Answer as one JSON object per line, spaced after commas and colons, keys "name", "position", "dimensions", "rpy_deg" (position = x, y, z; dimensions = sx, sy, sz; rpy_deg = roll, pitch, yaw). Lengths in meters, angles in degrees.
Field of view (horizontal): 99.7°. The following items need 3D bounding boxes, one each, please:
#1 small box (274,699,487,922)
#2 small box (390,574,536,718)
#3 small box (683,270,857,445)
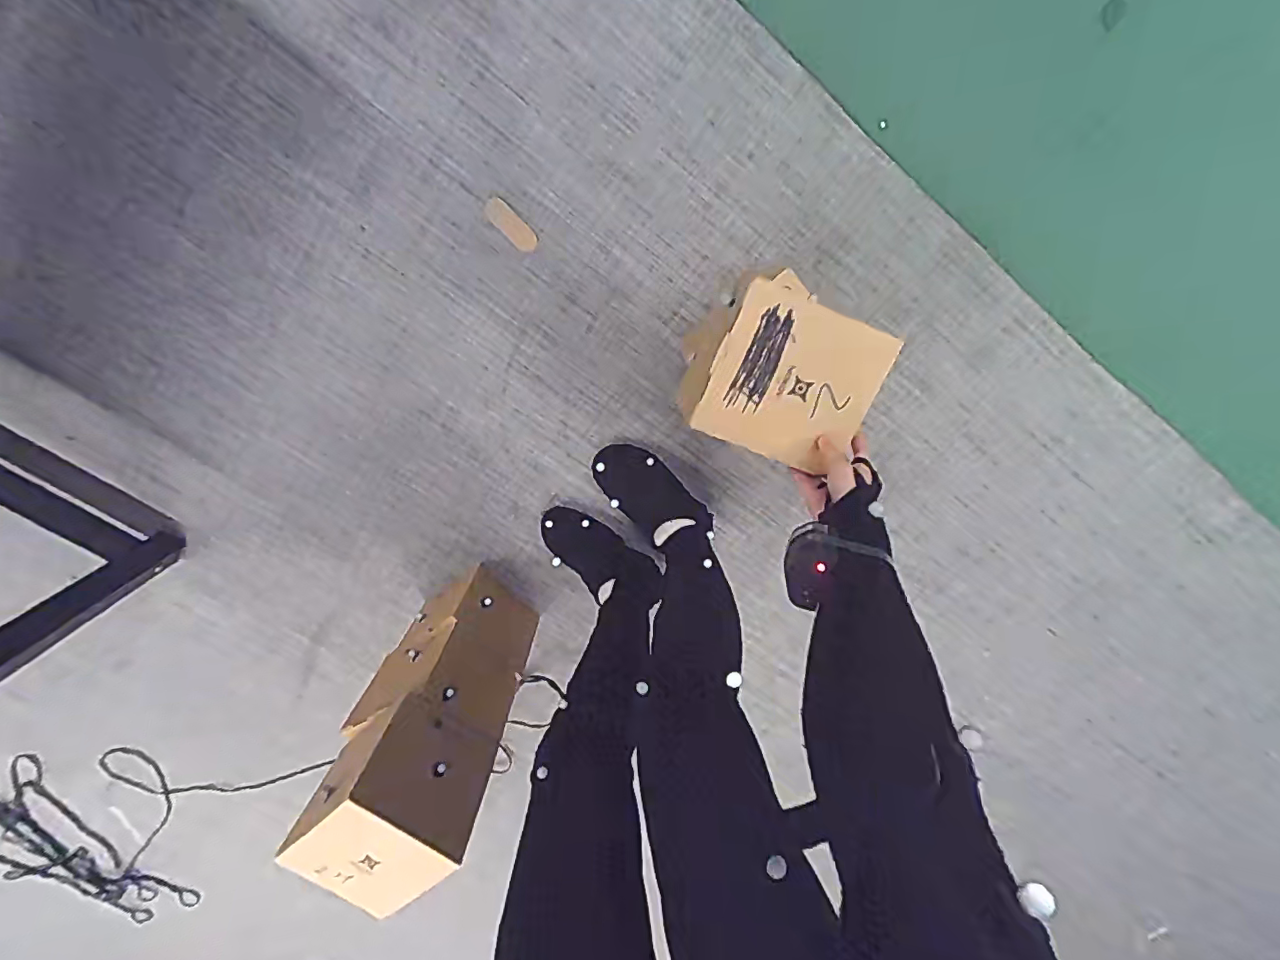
{"name": "small box", "position": [-0.331, 0.437, 0.731], "dimensions": [0.179, 0.176, 0.168], "rpy_deg": [-41, 106, 18]}
{"name": "small box", "position": [-0.325, 0.304, 1.030], "dimensions": [0.168, 0.176, 0.179], "rpy_deg": [-34, 109, 16]}
{"name": "small box", "position": [0.180, -0.187, 0.802], "dimensions": [0.179, 0.176, 0.168], "rpy_deg": [-40, 107, 17]}
